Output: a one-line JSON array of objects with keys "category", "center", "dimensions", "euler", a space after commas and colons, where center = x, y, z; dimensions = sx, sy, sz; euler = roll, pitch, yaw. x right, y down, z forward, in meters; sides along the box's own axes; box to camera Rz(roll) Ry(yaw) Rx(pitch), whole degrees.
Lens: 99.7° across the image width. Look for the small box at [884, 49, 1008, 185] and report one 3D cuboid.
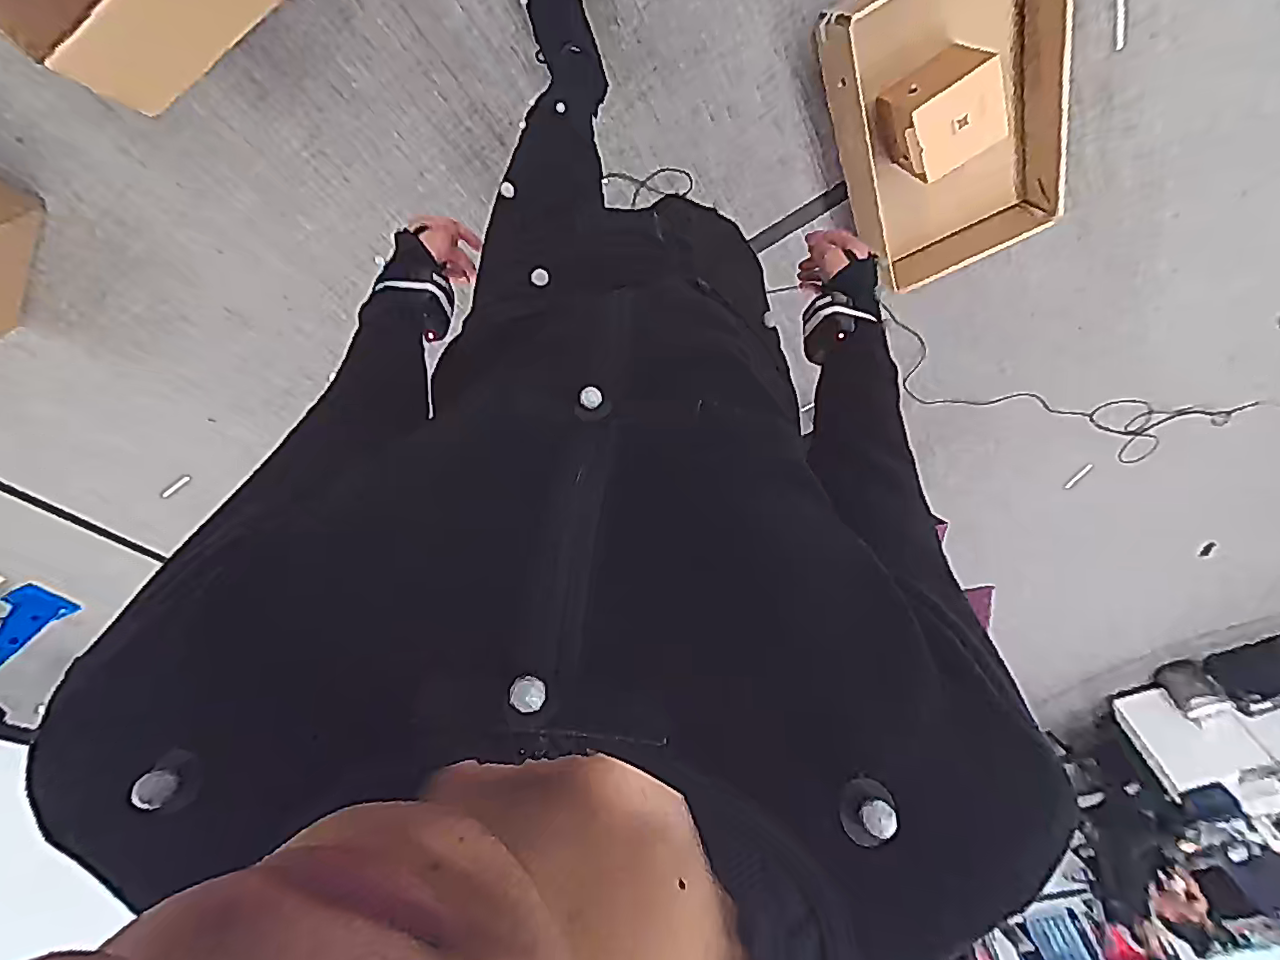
[{"category": "small box", "center": [0.652, -0.786, 1.171], "dimensions": [0.179, 0.176, 0.168], "euler": [-27, 132, 18]}]
